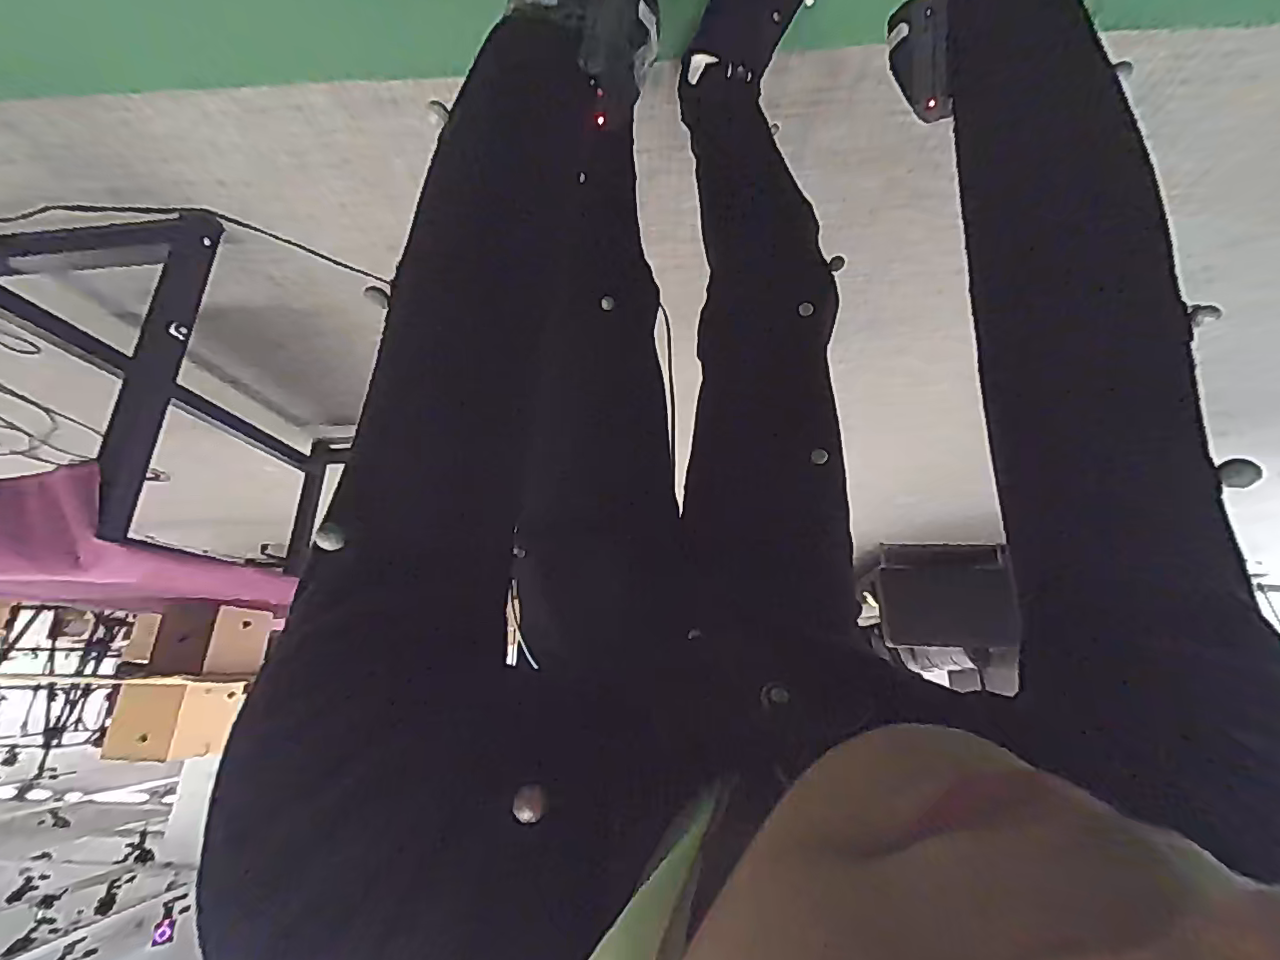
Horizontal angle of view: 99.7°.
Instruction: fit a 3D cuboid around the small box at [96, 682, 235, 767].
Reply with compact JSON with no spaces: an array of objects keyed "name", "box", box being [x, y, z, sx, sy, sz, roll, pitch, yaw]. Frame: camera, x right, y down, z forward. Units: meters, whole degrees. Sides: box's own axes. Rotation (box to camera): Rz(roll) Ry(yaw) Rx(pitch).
[{"name":"small box","box":[-1.111,0.574,1.286,0.179,0.176,0.168,-1,158,8]}]
